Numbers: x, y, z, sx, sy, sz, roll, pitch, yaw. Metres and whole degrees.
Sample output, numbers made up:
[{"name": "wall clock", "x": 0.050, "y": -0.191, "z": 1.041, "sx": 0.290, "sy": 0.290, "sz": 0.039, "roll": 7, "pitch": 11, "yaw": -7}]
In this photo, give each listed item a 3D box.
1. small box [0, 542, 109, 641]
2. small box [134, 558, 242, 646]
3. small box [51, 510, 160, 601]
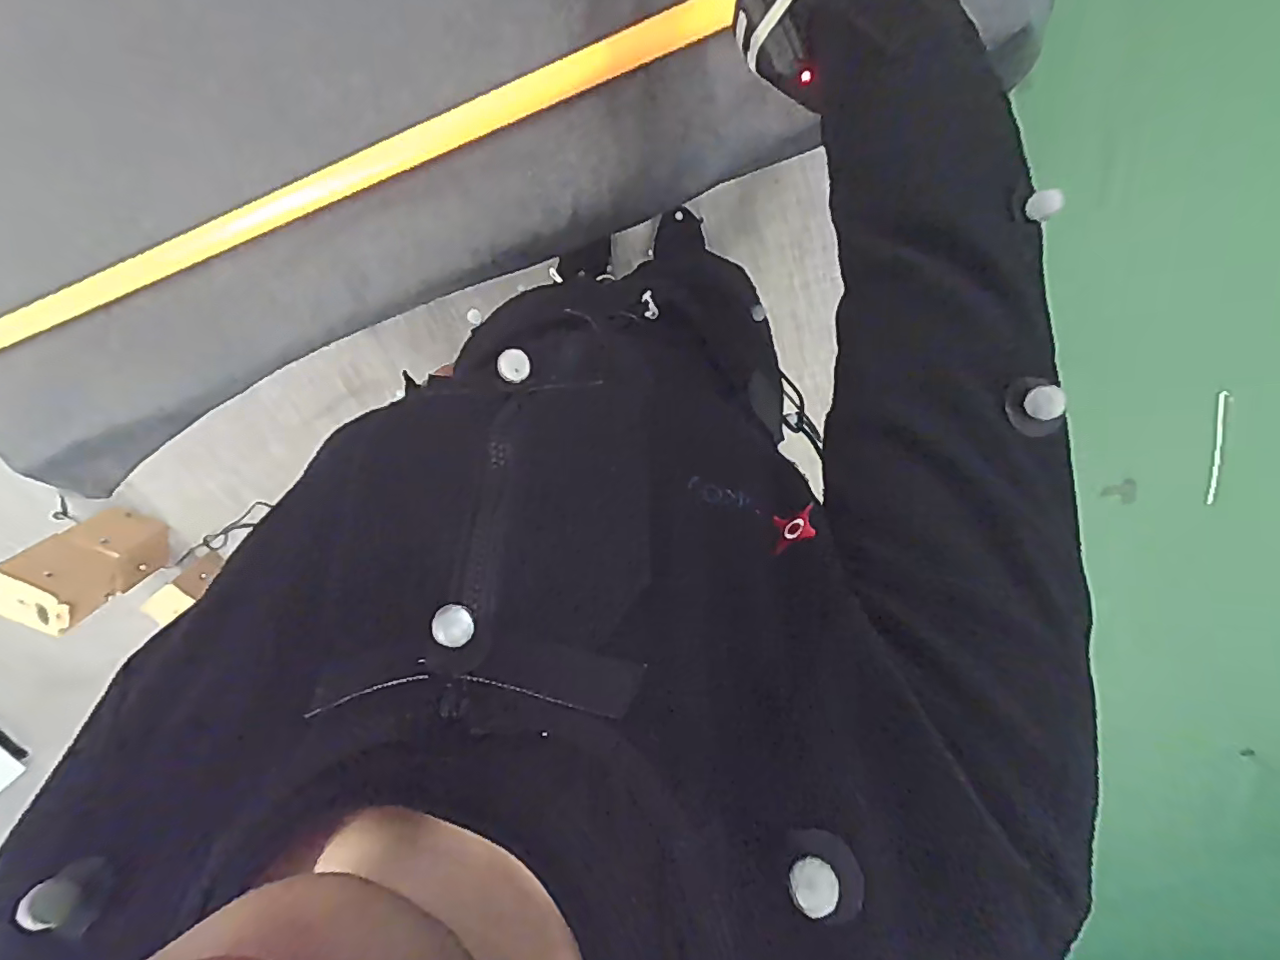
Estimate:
[{"name": "small box", "x": -1.616, "y": 0.297, "z": 1.477, "sx": 0.179, "sy": 0.176, "sz": 0.168, "roll": 28, "pitch": 116, "yaw": -8}, {"name": "small box", "x": -1.399, "y": 0.376, "z": 1.690, "sx": 0.179, "sy": 0.176, "sz": 0.168, "roll": -32, "pitch": 110, "yaw": 20}, {"name": "small box", "x": -1.592, "y": 0.222, "z": 1.622, "sx": 0.168, "sy": 0.176, "sz": 0.179, "roll": 23, "pitch": 117, "yaw": -7}]
